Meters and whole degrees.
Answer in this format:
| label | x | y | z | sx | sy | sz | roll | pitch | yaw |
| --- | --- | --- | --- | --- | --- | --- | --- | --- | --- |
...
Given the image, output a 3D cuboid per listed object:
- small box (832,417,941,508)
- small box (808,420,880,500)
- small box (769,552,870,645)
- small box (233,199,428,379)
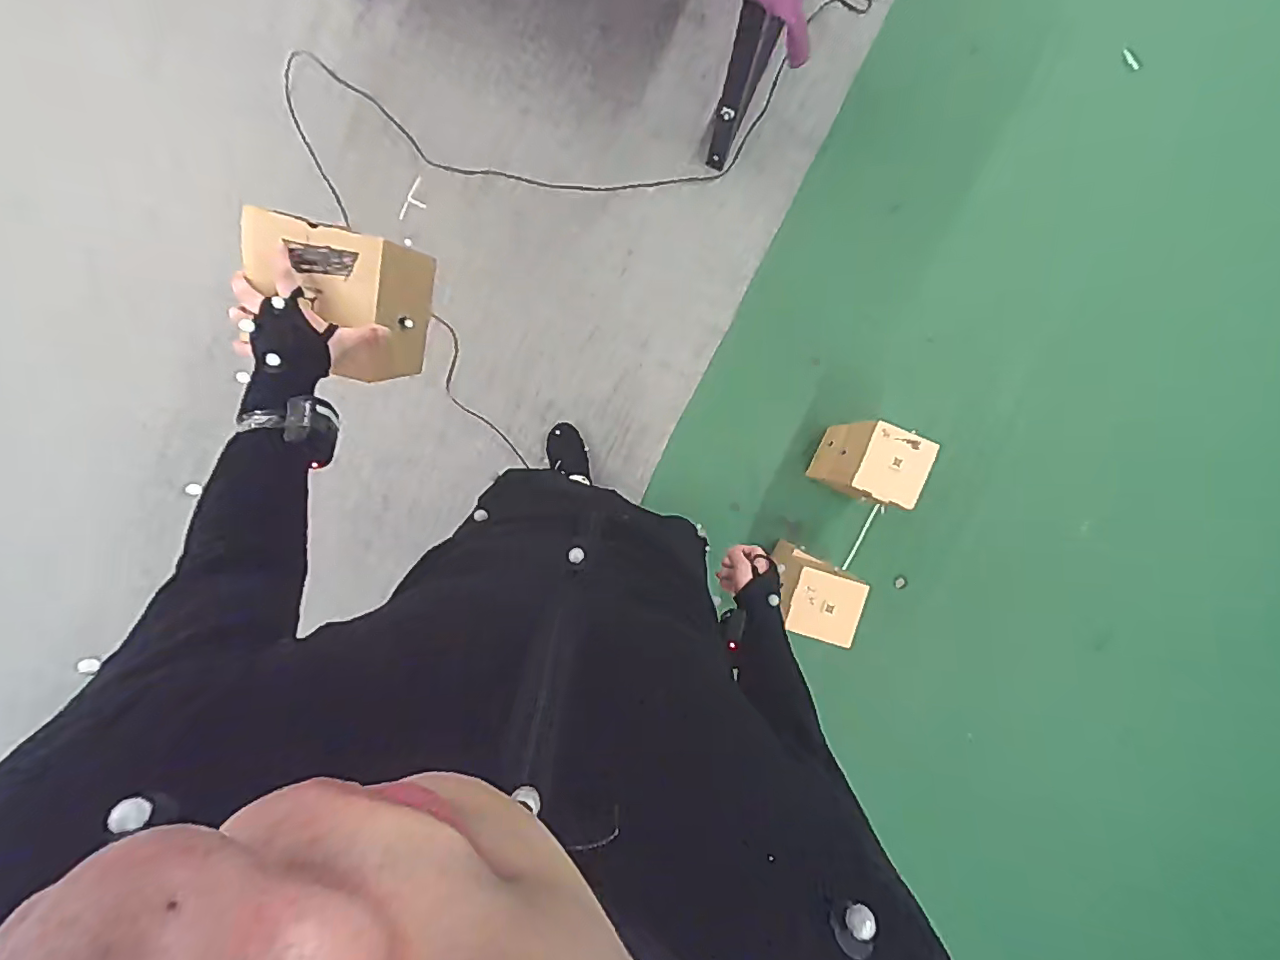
| label | x | y | z | sx | sy | sz | roll | pitch | yaw |
| --- | --- | --- | --- | --- | --- | --- | --- | --- | --- |
| small box | 0.614 | -0.048 | 1.377 | 0.168 | 0.176 | 0.179 | 23 | 94 | -2 |
| small box | 0.610 | -0.056 | 1.542 | 0.179 | 0.176 | 0.168 | 25 | 93 | -4 |
| small box | 0.456 | 0.298 | 1.402 | 0.179 | 0.176 | 0.168 | 18 | 94 | -1 |
| small box | -0.404 | -0.249 | 0.730 | 0.168 | 0.176 | 0.179 | 14 | 106 | -2 |
